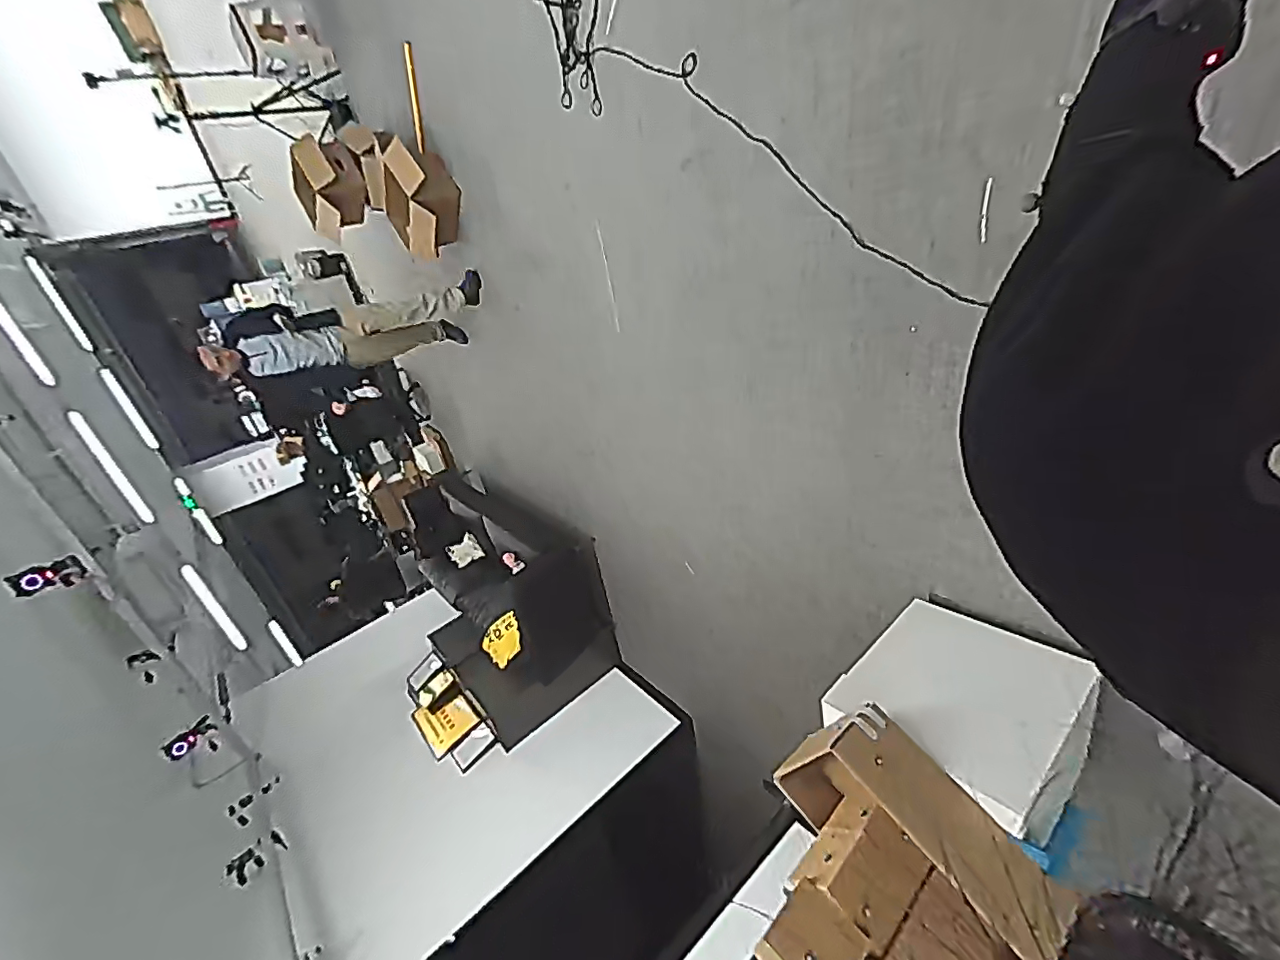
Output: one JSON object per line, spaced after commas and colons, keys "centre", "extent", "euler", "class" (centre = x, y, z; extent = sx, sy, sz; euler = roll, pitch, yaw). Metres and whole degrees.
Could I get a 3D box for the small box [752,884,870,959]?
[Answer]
{"centre": [0.376, 1.052, 1.193], "extent": [0.179, 0.176, 0.168], "euler": [34, 140, 33], "class": "small box"}
